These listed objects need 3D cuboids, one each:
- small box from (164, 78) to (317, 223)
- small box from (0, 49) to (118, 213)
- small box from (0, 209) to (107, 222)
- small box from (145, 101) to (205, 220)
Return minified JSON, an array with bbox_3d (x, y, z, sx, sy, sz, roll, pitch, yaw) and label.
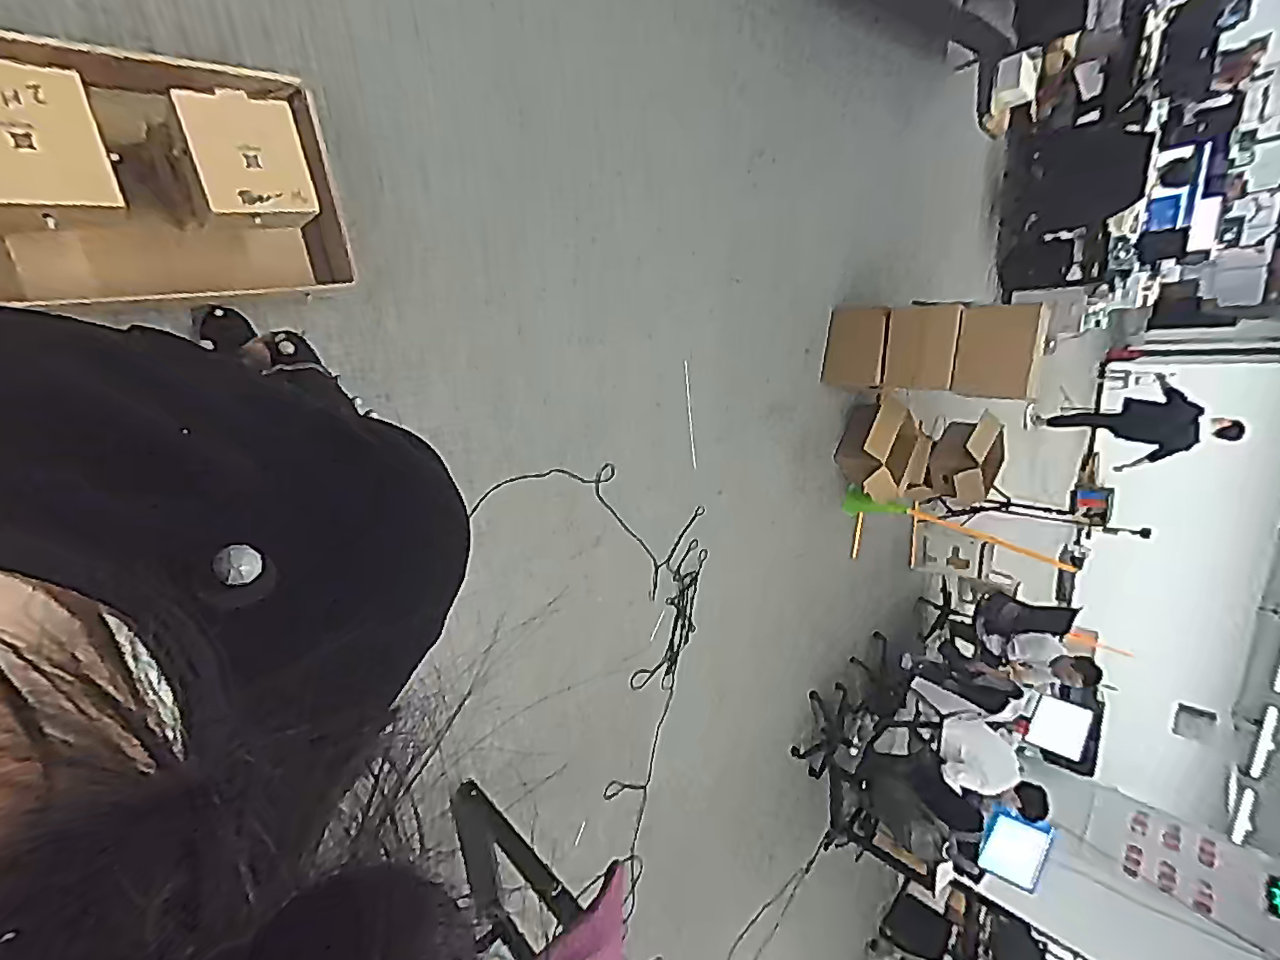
[{"bbox_3d":[-0.705,-0.566,0.954,0.168,0.176,0.179,-23,114,-39],"label":"small box"},{"bbox_3d":[-0.896,-0.495,0.783,0.168,0.176,0.179,-22,115,-41],"label":"small box"},{"bbox_3d":[-1.018,-0.527,0.888,0.179,0.176,0.168,-27,118,-39],"label":"small box"},{"bbox_3d":[-0.825,-0.614,1.056,0.179,0.176,0.168,-28,119,-39],"label":"small box"}]
